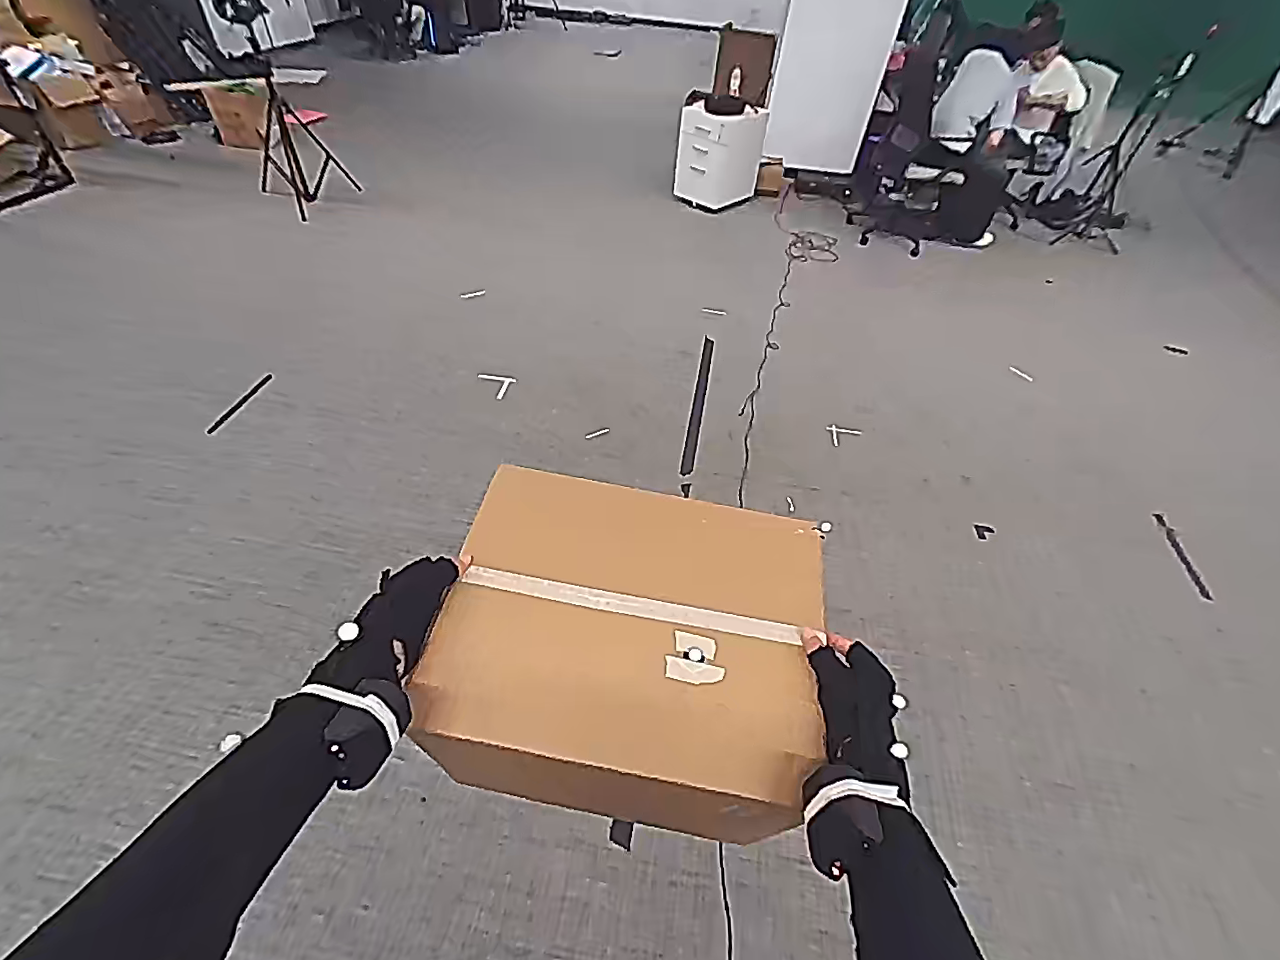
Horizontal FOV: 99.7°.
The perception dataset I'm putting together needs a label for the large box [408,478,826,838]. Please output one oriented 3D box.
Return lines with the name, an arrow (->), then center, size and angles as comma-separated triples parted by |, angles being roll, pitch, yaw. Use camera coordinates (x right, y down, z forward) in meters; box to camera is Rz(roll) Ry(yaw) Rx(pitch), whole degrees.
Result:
large box -> -0.017, 0.237, 0.706 | 0.408, 0.320, 0.320 | 11, 52, 2
